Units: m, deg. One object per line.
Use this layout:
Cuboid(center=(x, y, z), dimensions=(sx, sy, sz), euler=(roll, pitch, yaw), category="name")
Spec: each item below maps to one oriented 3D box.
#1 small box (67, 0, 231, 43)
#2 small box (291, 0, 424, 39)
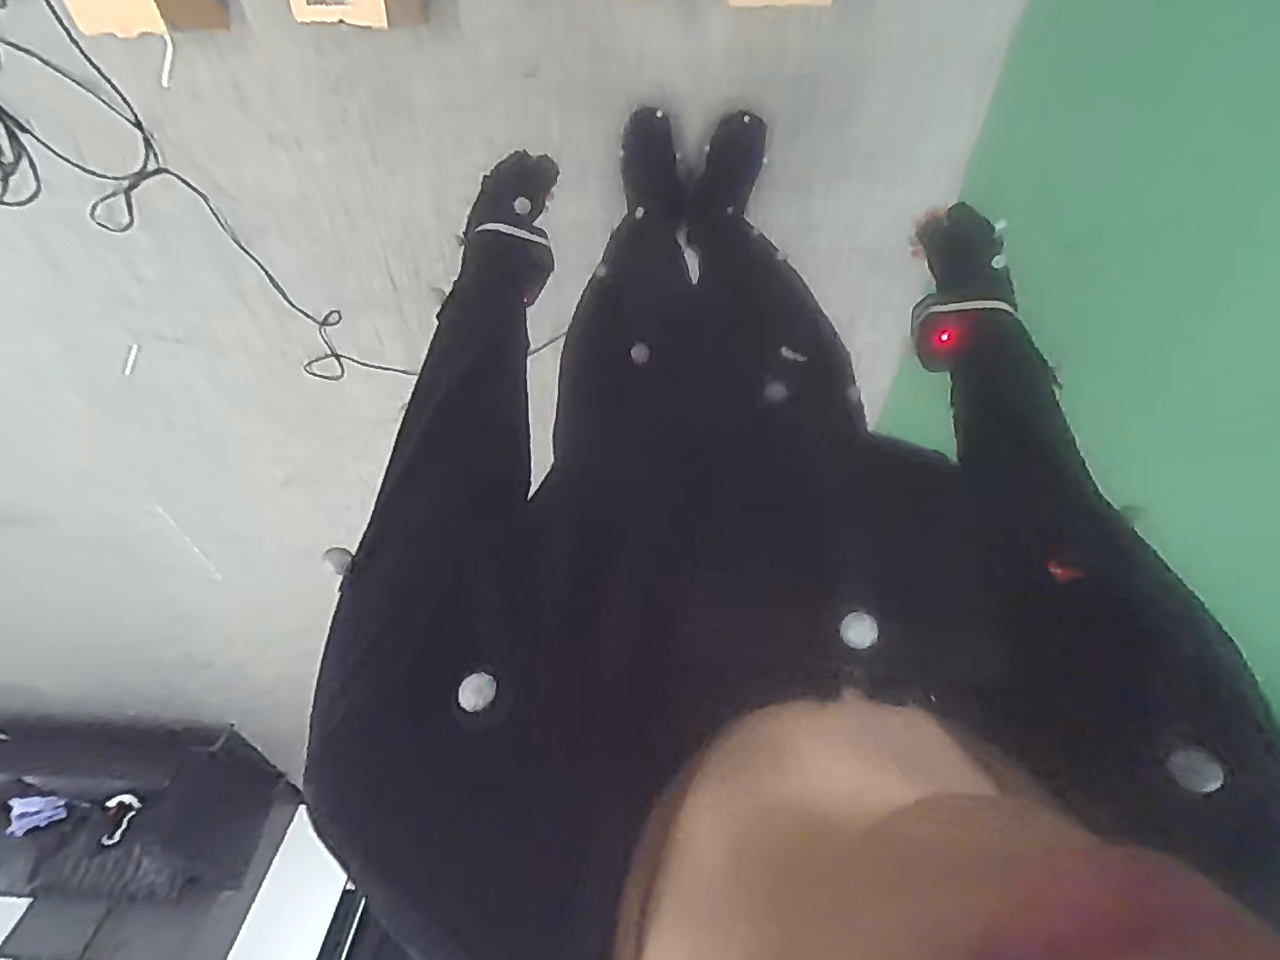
Cuboid(center=(-0.894, -0.895, 0.962), dimensions=(0.168, 0.176, 0.179), euler=(2, 132, 4), category="small box")
Cuboid(center=(-0.492, -0.883, 0.930), dimensions=(0.168, 0.176, 0.179), euler=(6, 131, 1), category="small box")
